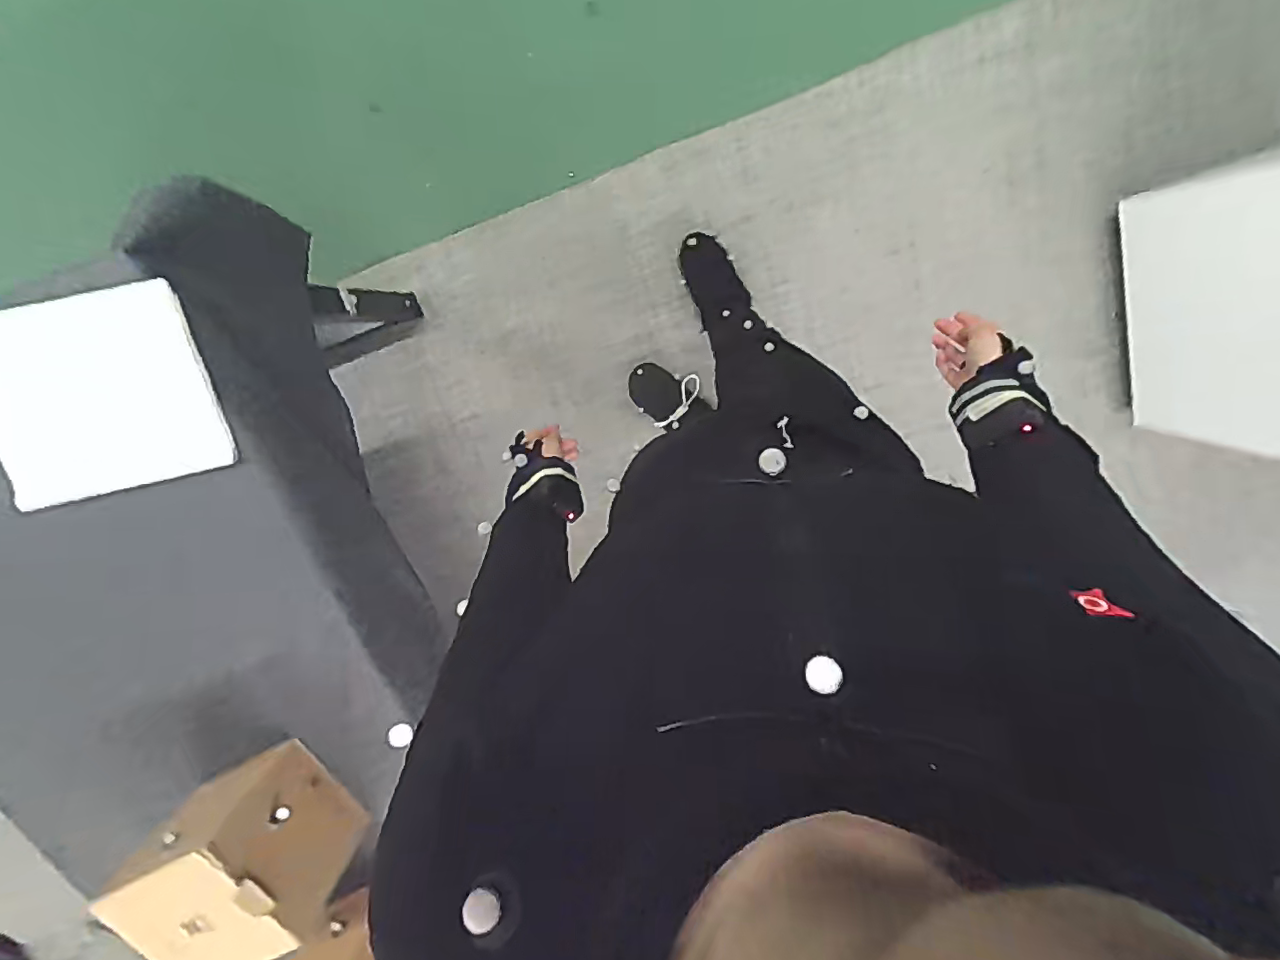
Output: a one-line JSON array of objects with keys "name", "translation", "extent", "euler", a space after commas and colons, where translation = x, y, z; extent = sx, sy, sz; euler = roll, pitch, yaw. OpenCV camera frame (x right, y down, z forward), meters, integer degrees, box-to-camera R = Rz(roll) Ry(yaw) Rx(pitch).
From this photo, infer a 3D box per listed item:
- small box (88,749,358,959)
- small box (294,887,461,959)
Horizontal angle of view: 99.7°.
[{"name": "small box", "translation": [-0.489, 0.476, 0.672], "extent": [0.179, 0.176, 0.168], "euler": [-30, 103, 10]}, {"name": "small box", "translation": [-0.379, 0.716, 0.741], "extent": [0.168, 0.176, 0.179], "euler": [-32, 102, 10]}]
